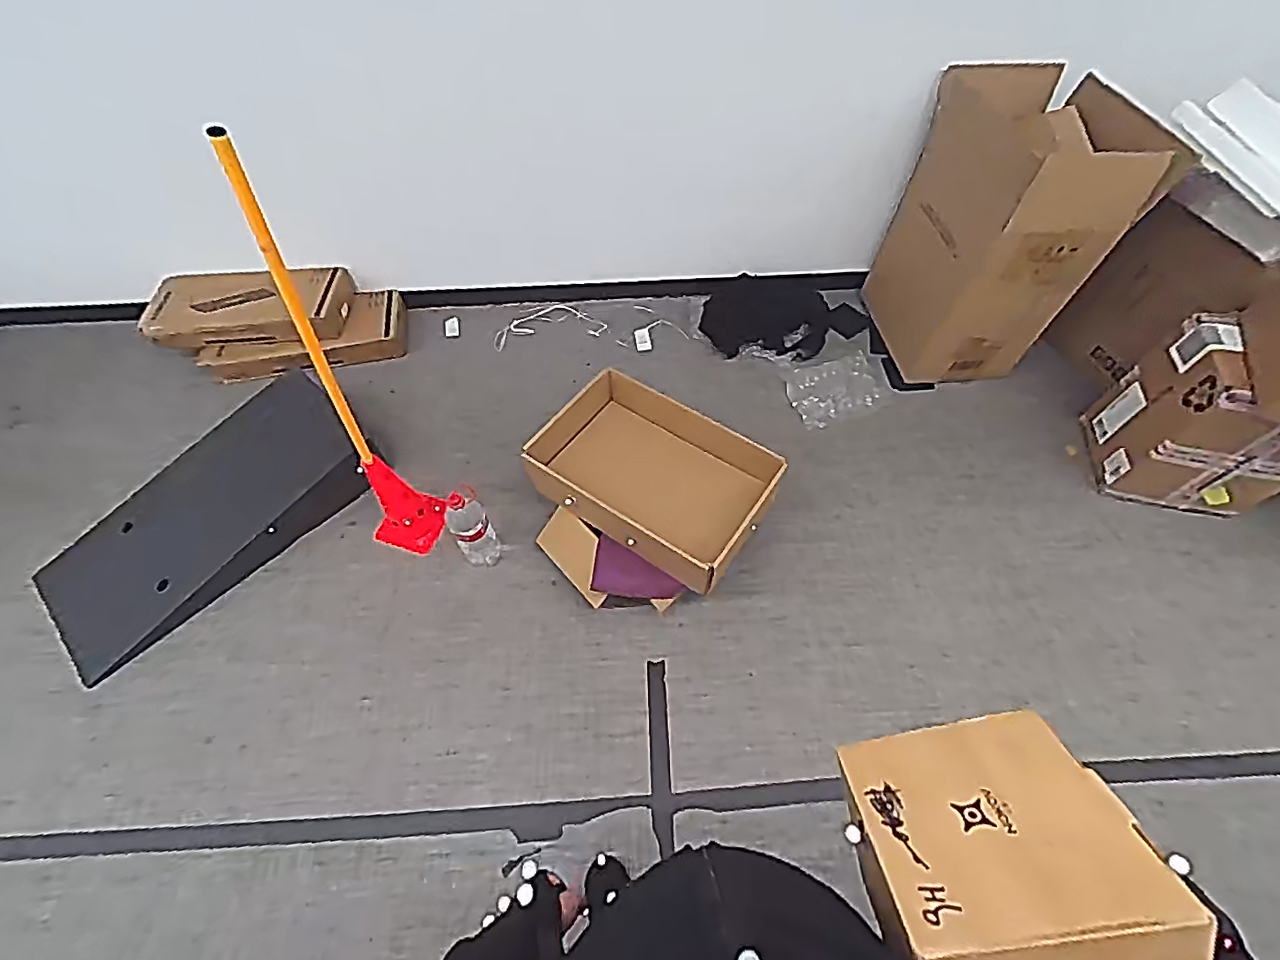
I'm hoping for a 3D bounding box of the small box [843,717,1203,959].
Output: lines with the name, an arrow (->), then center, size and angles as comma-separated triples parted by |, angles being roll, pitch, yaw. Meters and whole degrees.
small box -> 0.287, 0.332, 0.443 | 0.179, 0.176, 0.168 | -14, 19, 7
